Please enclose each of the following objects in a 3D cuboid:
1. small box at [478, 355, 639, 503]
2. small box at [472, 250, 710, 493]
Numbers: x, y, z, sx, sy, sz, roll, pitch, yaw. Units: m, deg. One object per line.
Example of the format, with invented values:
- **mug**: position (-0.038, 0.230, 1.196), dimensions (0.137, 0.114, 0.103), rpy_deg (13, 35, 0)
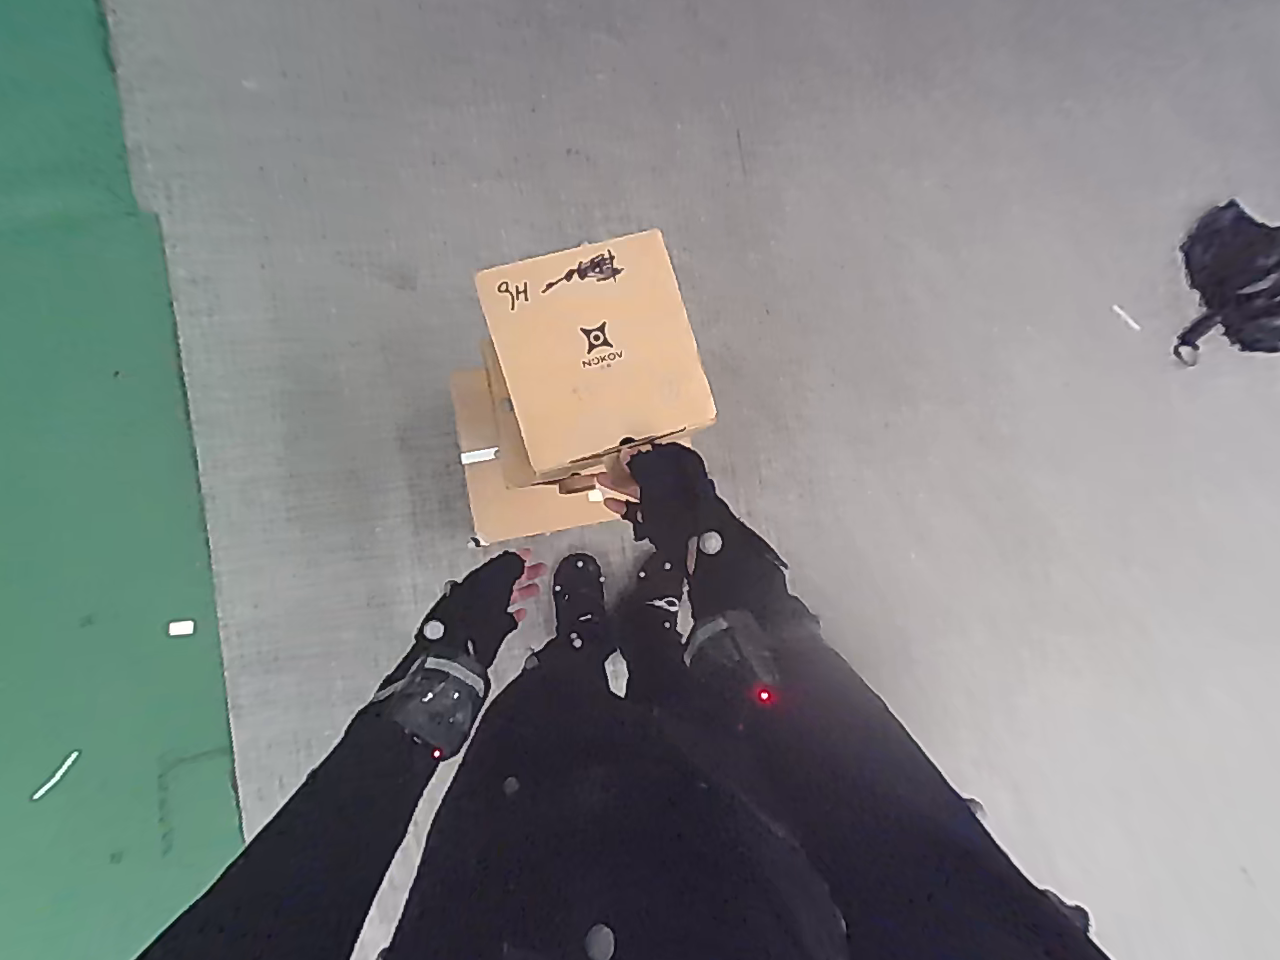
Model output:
- **small box**: position (-0.103, -0.075, 0.716), dimensions (0.168, 0.176, 0.179), rpy_deg (-11, 93, -7)
- **small box**: position (-0.049, -0.094, 0.539), dimensions (0.168, 0.176, 0.179), rpy_deg (-18, 91, -8)
